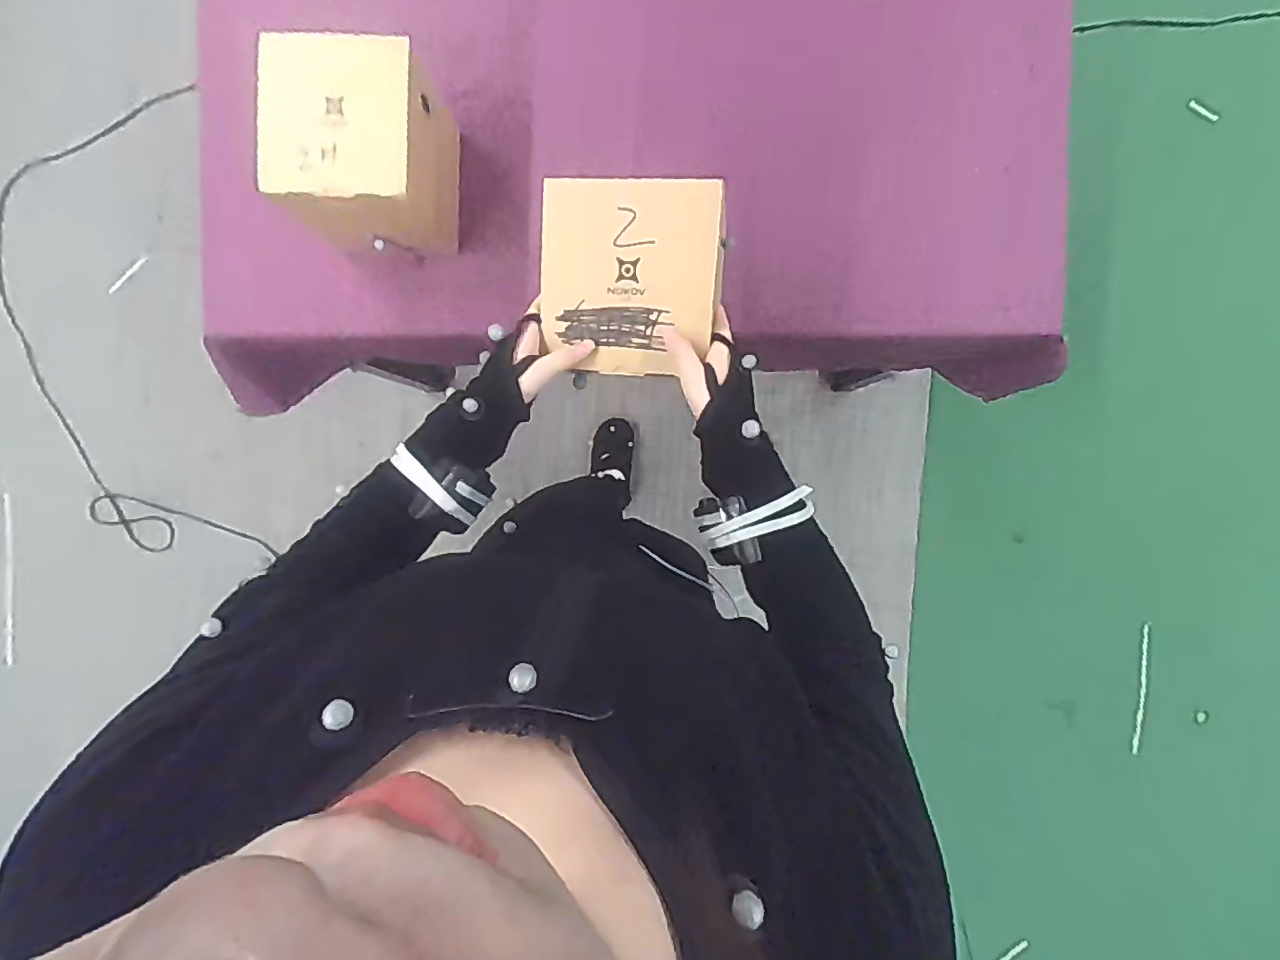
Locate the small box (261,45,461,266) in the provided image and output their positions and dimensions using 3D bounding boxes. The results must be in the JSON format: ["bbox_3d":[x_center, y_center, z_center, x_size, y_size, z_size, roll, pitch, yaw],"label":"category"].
[{"bbox_3d":[-0.332,-0.390,0.675,0.168,0.176,0.179,2,91,0],"label":"small box"}]
